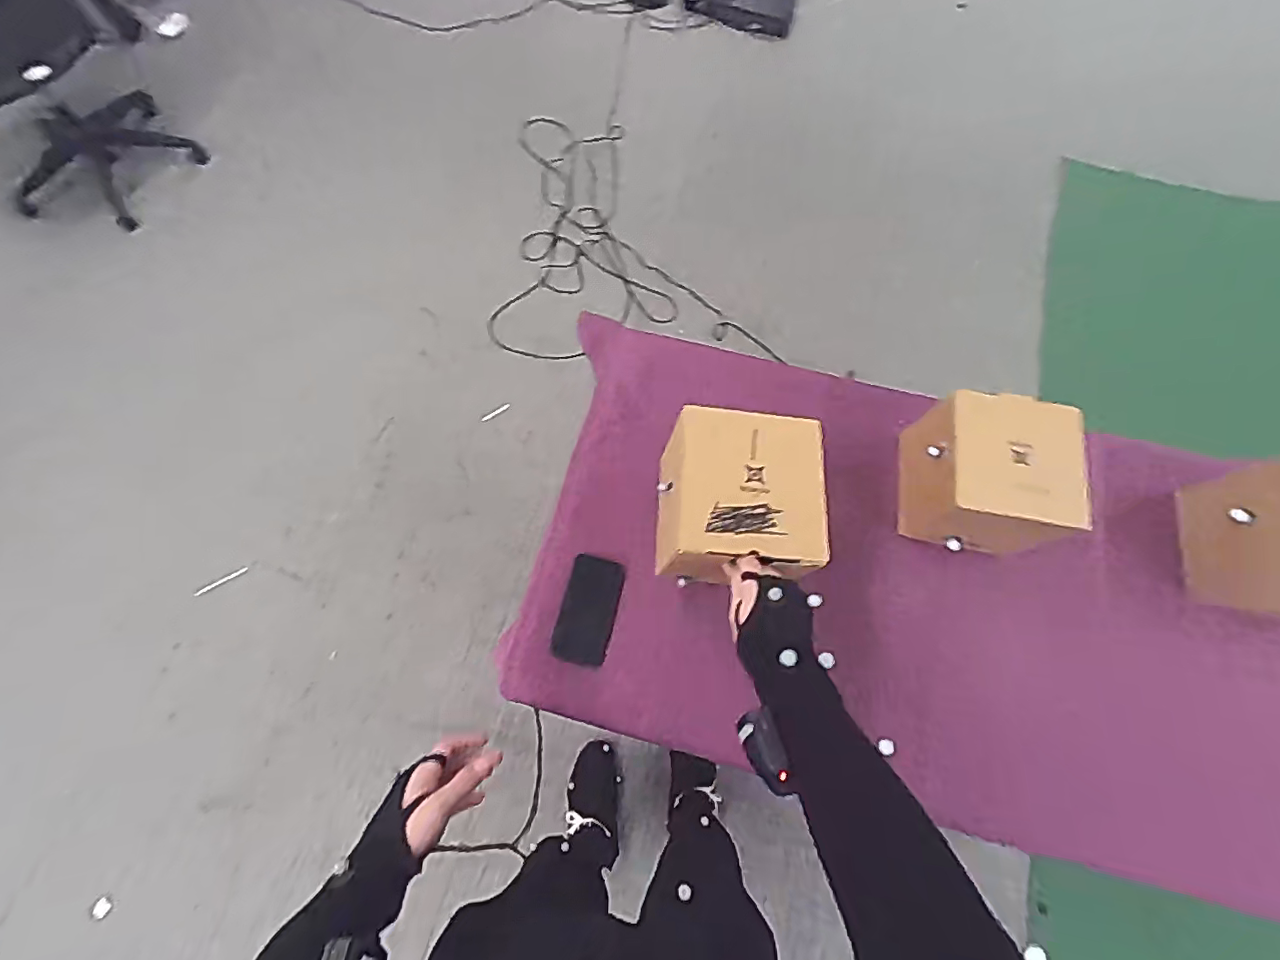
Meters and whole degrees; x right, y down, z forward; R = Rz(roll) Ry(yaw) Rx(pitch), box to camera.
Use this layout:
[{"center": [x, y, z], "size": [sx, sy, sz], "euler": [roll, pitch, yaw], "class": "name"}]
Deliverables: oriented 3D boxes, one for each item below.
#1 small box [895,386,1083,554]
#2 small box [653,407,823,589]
[{"center": [0.487, -0.007, 0.780], "size": [0.168, 0.176, 0.179], "euler": [11, 70, 3], "class": "small box"}, {"center": [0.112, 0.033, 0.673], "size": [0.168, 0.176, 0.179], "euler": [7, 68, -6], "class": "small box"}]
